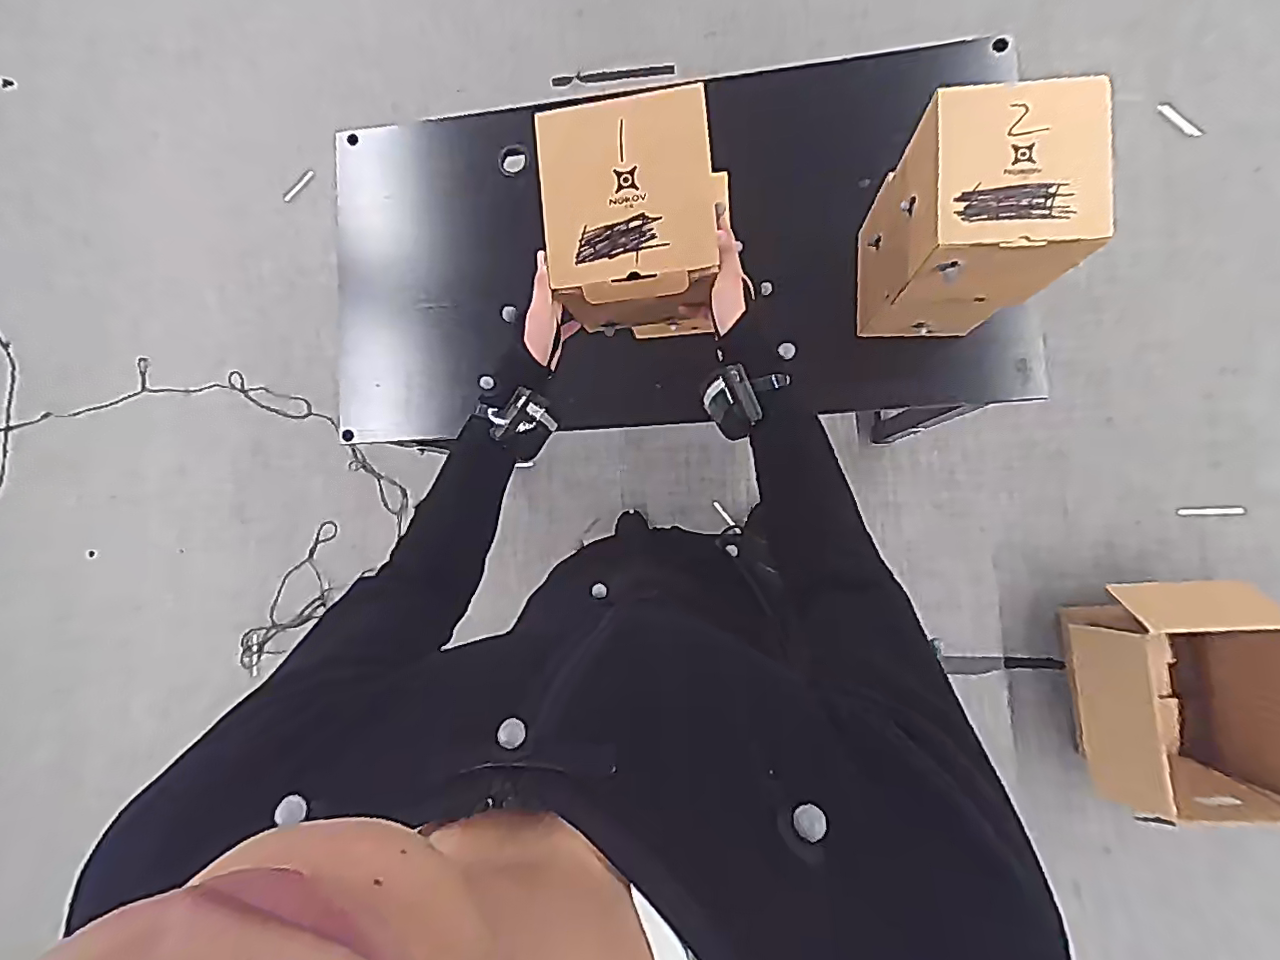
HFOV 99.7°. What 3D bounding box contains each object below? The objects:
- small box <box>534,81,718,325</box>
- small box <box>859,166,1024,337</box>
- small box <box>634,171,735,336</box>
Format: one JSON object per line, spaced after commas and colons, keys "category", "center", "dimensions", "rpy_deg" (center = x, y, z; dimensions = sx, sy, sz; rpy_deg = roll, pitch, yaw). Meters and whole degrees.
{"category": "small box", "center": [-0.003, -0.275, 0.584], "dimensions": [0.168, 0.176, 0.179], "rpy_deg": [-5, 91, 7]}
{"category": "small box", "center": [0.426, -0.322, 0.790], "dimensions": [0.168, 0.176, 0.179], "rpy_deg": [2, 87, 9]}
{"category": "small box", "center": [0.058, -0.342, 0.844], "dimensions": [0.168, 0.176, 0.179], "rpy_deg": [-3, 87, 8]}
